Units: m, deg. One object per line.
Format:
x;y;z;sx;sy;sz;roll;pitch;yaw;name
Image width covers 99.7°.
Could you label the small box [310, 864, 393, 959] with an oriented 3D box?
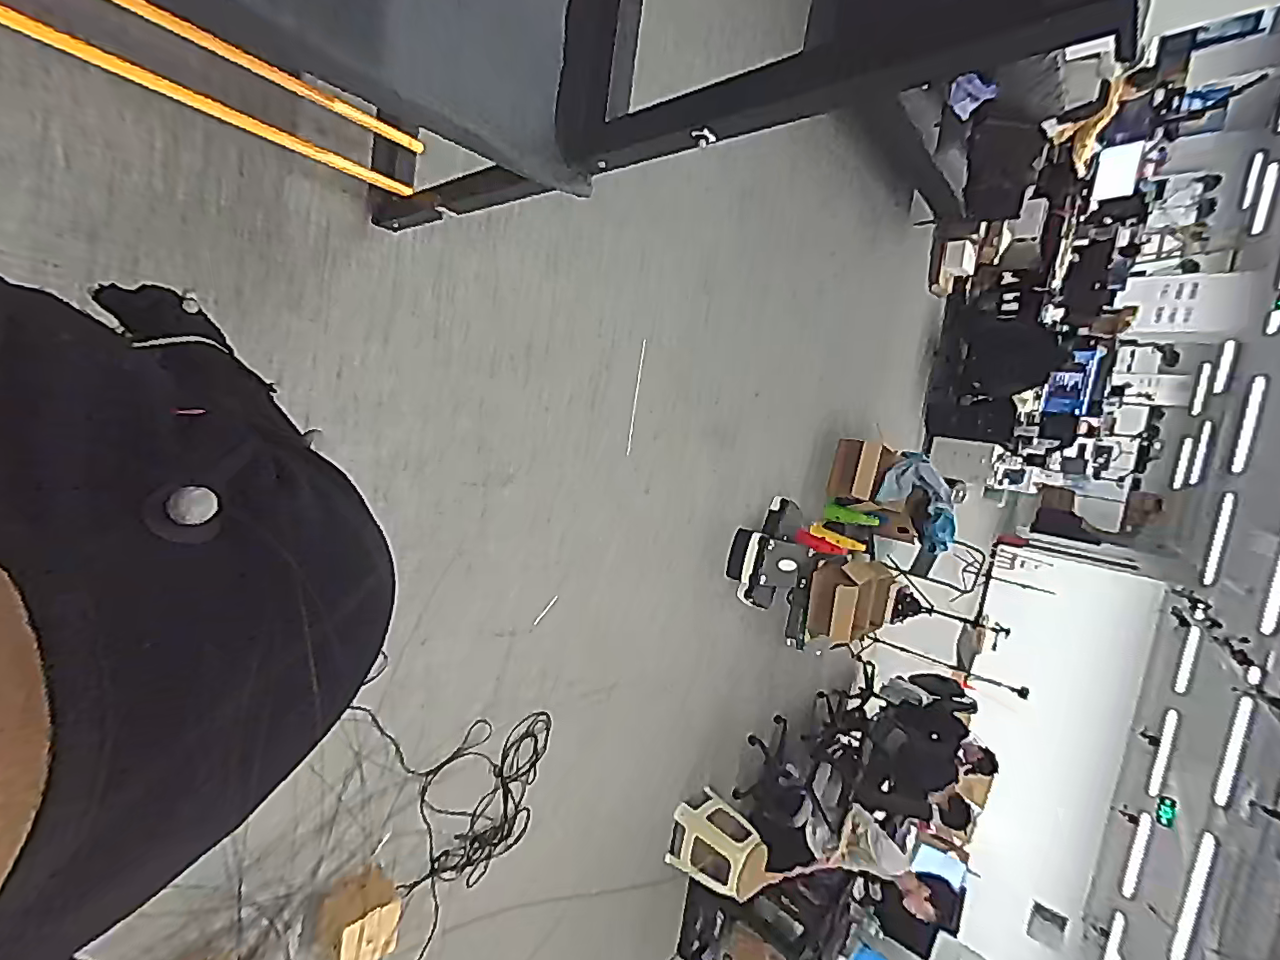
-0.860;1.303;1.603;0.168;0.176;0.179;2;98;-50;small box
